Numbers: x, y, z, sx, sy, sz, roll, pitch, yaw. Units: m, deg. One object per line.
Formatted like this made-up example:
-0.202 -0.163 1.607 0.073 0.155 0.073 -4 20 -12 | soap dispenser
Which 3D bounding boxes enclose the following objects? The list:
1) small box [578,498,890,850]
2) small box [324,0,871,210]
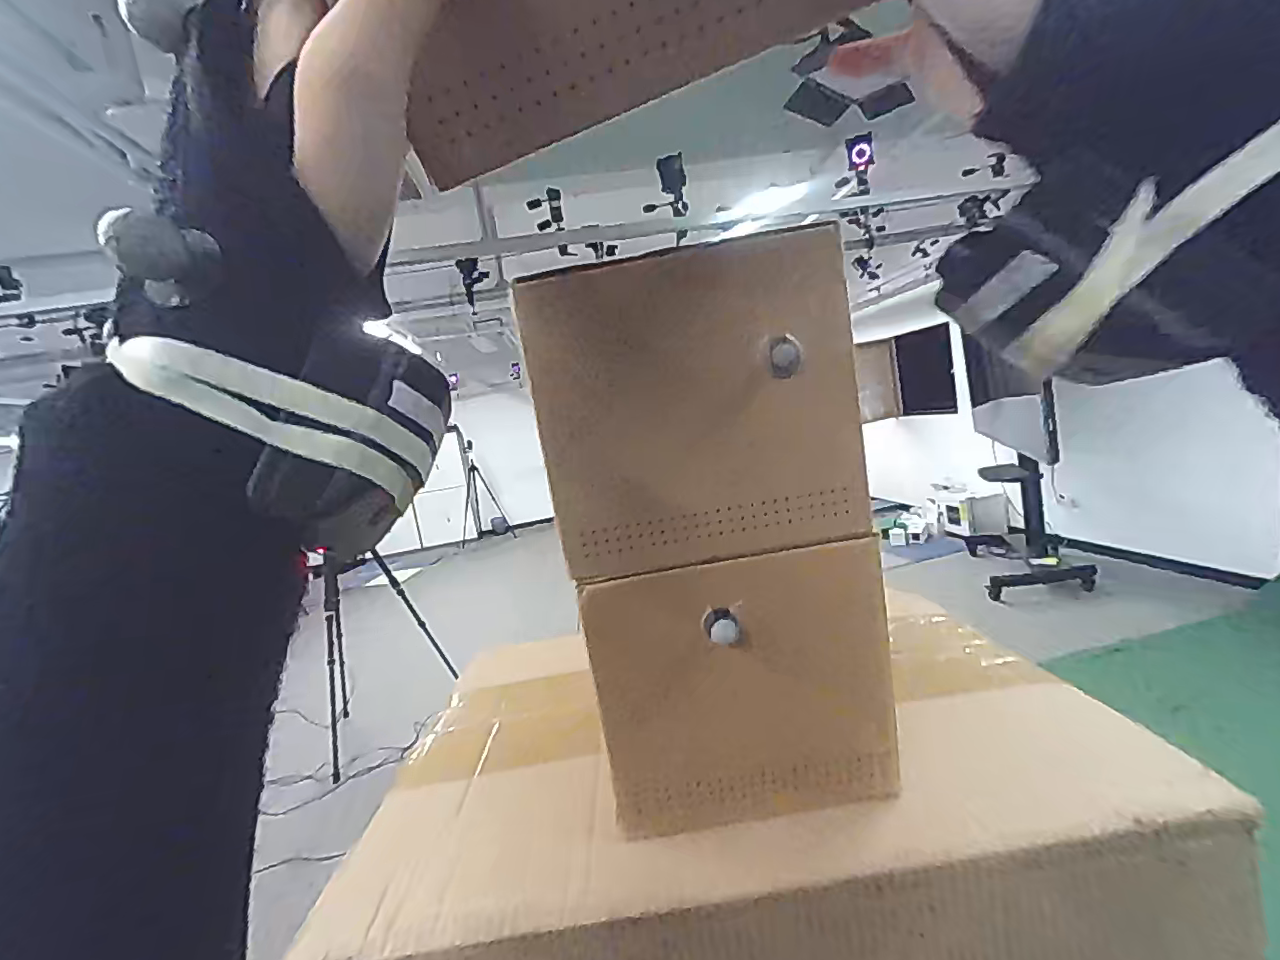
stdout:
0.062 0.123 0.391 0.179 0.176 0.168 -10 9 1 | small box
-0.025 -0.229 0.186 0.179 0.176 0.168 -18 47 7 | small box
